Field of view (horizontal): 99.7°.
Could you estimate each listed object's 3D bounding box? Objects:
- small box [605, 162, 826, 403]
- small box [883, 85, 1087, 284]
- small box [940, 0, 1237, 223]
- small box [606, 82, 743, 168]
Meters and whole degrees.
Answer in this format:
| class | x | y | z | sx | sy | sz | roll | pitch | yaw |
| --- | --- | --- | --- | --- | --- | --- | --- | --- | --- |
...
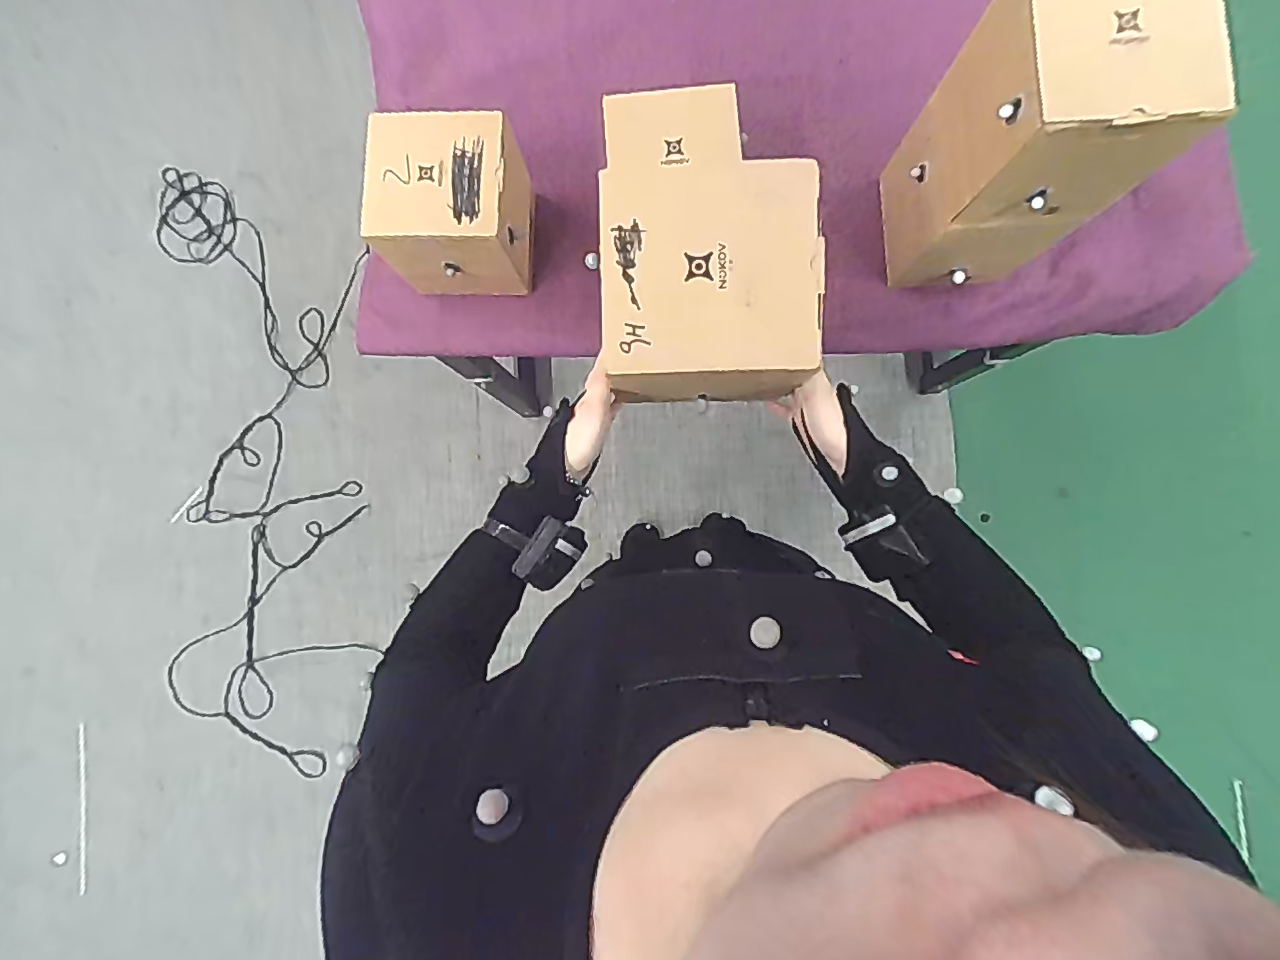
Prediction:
| class | x | y | z | sx | sy | sz | roll | pitch | yaw |
| --- | --- | --- | --- | --- | --- | --- | --- | --- | --- |
| small box | 0.060 | -0.167 | 0.506 | 0.179 | 0.176 | 0.168 | -1 | 89 | 2 |
| small box | 0.439 | -0.382 | 0.718 | 0.168 | 0.176 | 0.179 | -2 | 86 | 2 |
| small box | 0.434 | -0.397 | 0.557 | 0.168 | 0.176 | 0.179 | -3 | 86 | 3 |
| small box | 0.046 | -0.390 | 0.736 | 0.168 | 0.176 | 0.179 | -5 | 85 | 3 |
